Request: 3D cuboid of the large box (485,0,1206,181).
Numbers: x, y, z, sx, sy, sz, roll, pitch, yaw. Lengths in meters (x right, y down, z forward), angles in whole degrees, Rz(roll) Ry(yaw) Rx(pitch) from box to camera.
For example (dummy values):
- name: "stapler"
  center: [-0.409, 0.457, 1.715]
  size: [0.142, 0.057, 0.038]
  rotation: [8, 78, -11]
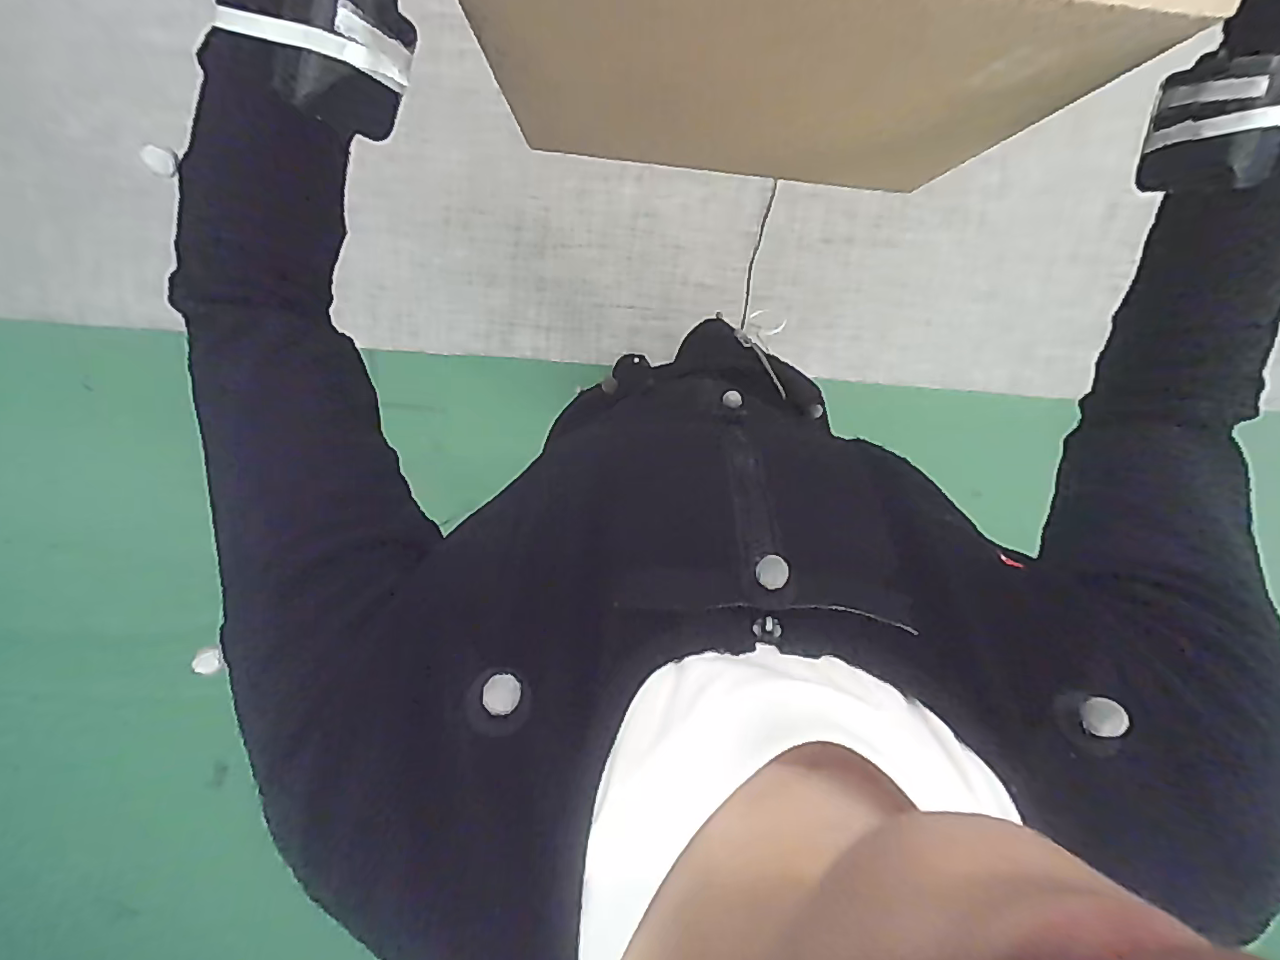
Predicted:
- name: "large box"
  center: [0.106, -0.440, 0.384]
  size: [0.408, 0.320, 0.320]
  rotation: [4, 104, -4]
